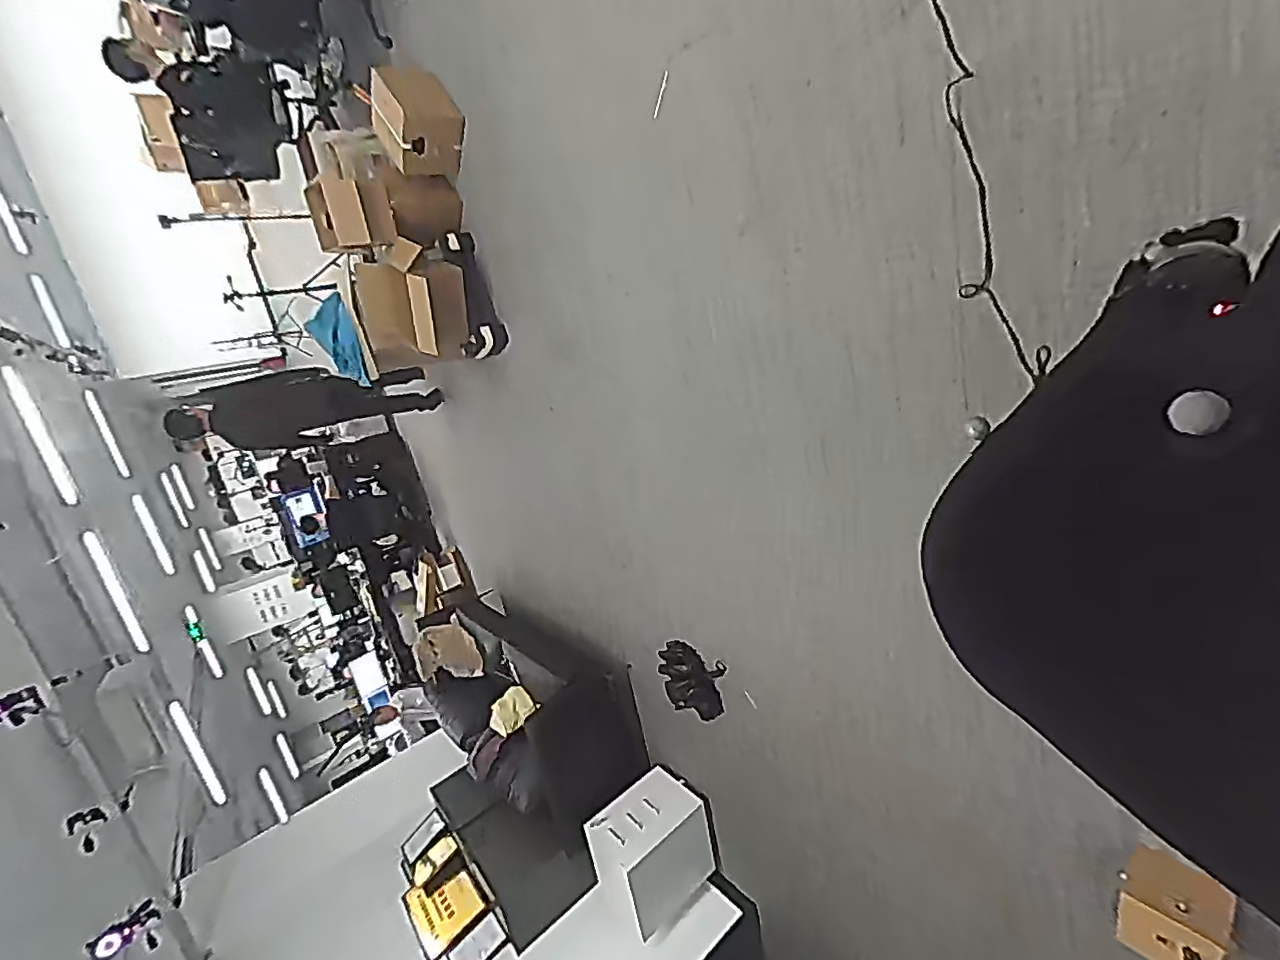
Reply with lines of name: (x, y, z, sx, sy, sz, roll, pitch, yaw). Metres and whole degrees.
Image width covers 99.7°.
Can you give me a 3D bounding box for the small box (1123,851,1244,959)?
small box: (1.289, 1.040, 1.283, 0.179, 0.176, 0.168, 12, 117, 51)
